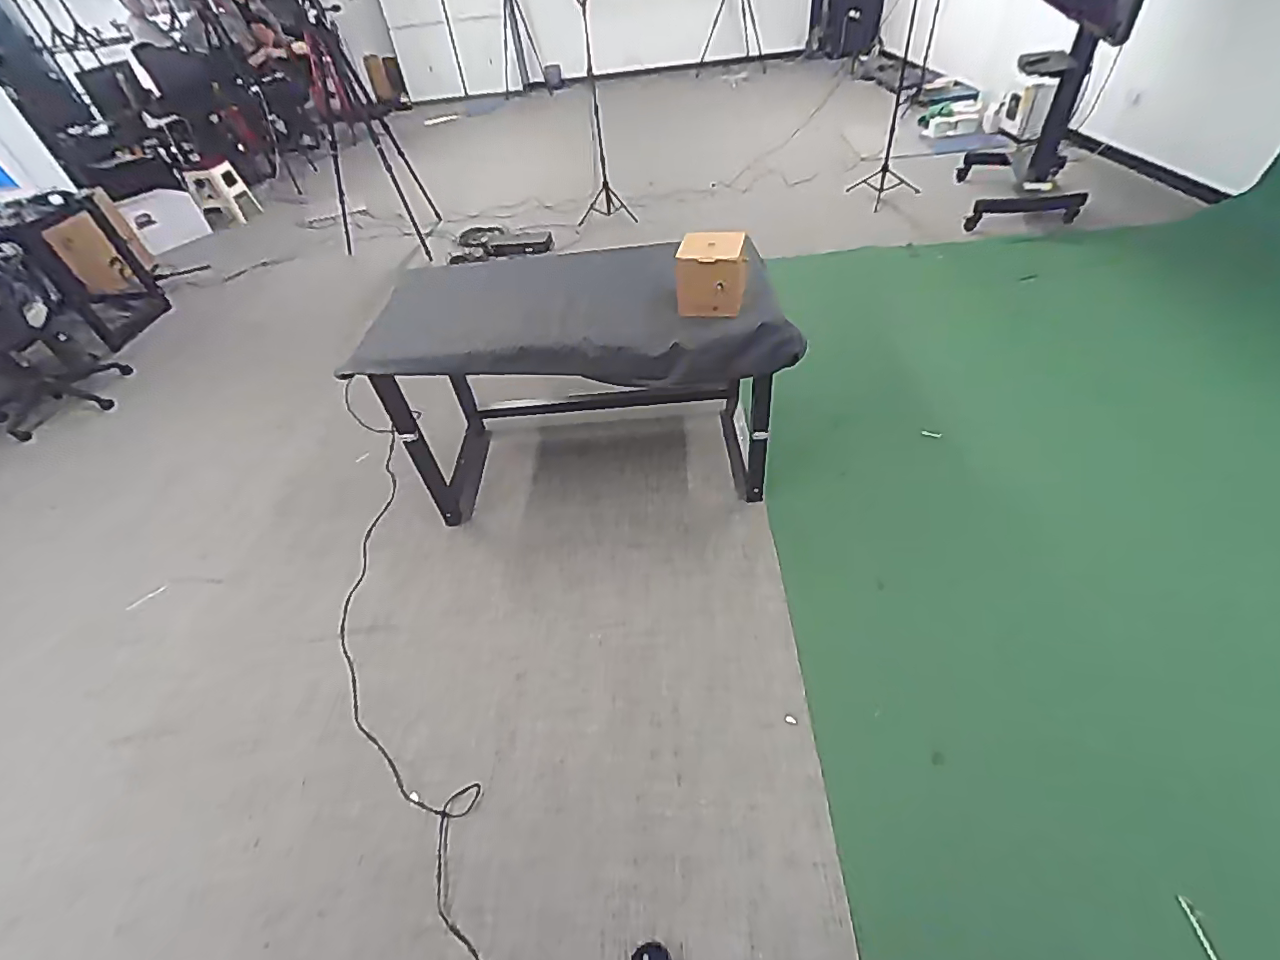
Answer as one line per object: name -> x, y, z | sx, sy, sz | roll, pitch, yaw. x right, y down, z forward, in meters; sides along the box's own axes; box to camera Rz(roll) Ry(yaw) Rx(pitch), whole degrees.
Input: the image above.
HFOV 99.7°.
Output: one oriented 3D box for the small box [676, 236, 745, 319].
small box -> 0.198, -0.559, 1.498 | 0.168, 0.176, 0.179 | 6, 44, 13
